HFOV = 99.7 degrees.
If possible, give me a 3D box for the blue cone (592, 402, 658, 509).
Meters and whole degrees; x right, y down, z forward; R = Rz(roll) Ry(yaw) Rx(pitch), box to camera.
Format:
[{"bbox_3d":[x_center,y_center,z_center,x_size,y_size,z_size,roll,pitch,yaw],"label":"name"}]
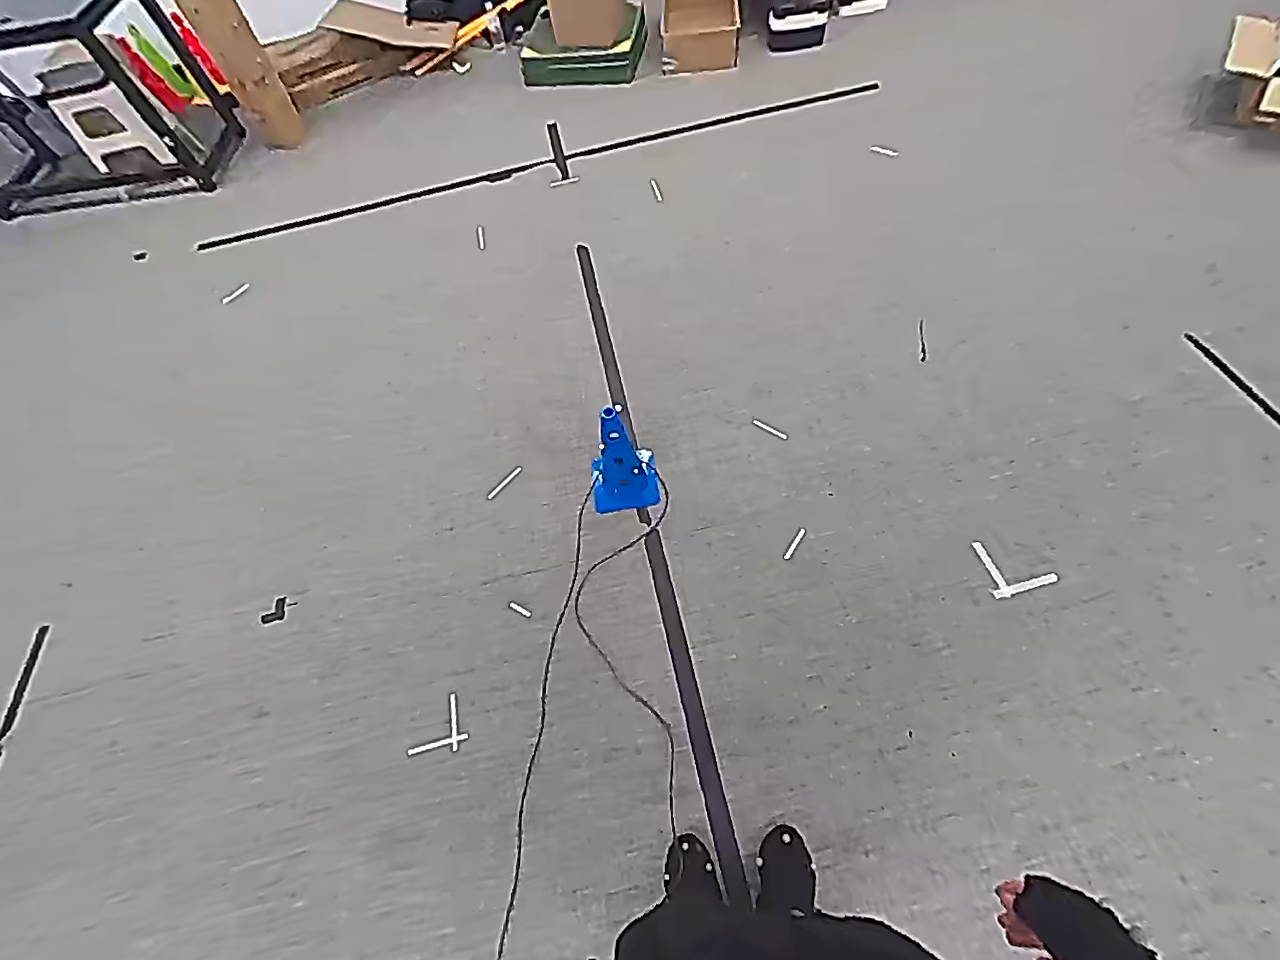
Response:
[{"bbox_3d":[-0.063,-0.082,1.511,0.193,0.380,0.192,-11,60,1],"label":"blue cone"}]
